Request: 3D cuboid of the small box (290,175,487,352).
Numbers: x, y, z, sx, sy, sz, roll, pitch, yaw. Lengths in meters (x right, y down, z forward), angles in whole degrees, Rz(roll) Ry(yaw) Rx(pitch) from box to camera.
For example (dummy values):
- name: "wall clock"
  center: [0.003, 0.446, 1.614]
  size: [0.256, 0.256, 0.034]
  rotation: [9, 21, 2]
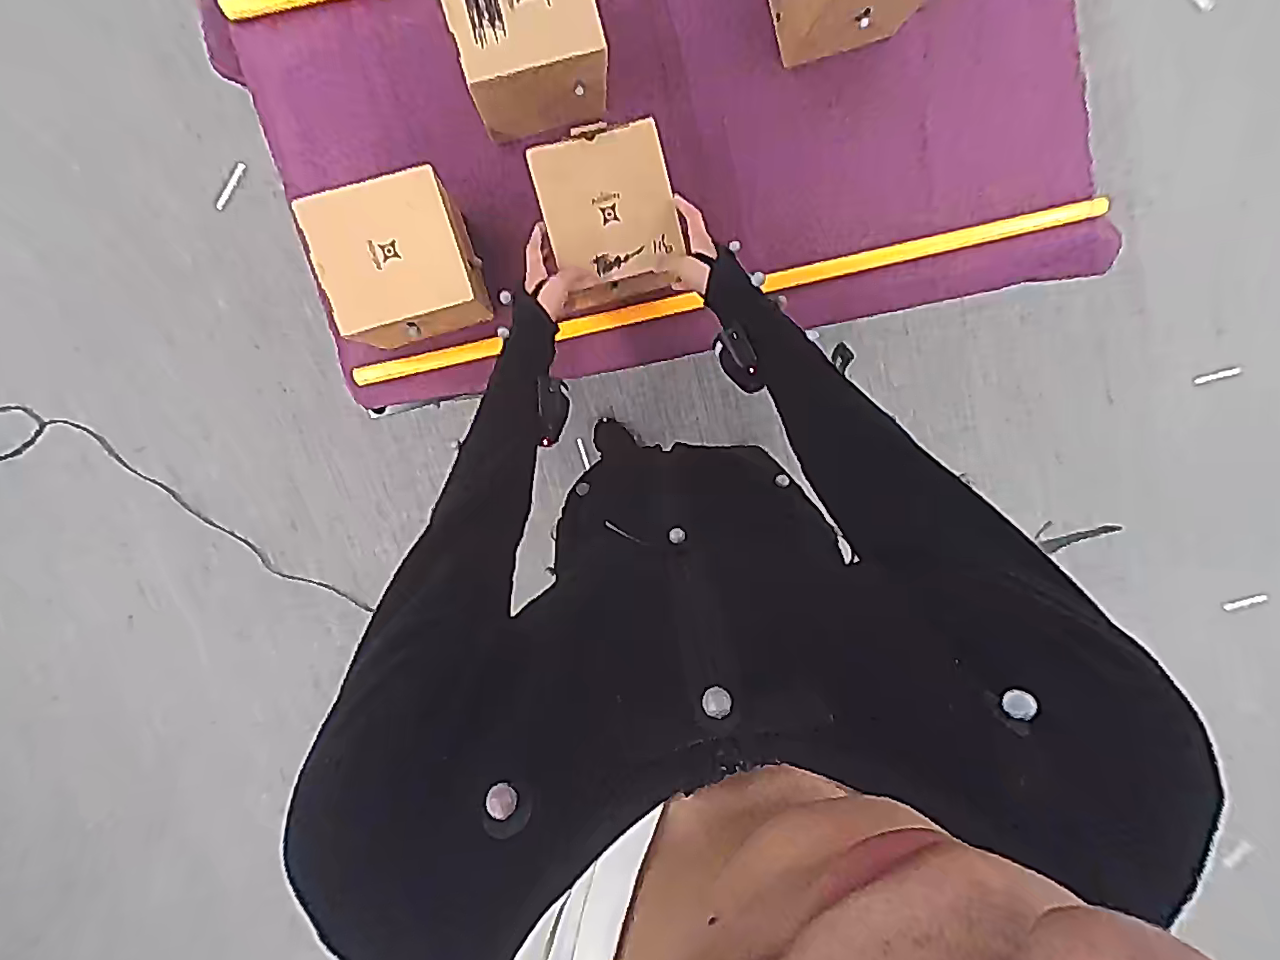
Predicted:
- name: "small box"
  center: [-0.322, -0.282, 0.739]
  size: [0.179, 0.176, 0.168]
  rotation: [-17, 99, -2]

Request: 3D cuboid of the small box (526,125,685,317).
- name: "small box"
  center: [-0.047, -0.342, 0.748]
  size: [0.168, 0.176, 0.179]
  rotation: [-15, 99, -1]

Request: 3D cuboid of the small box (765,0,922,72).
- name: "small box"
  center: [0.275, -0.691, 0.713]
  size: [0.179, 0.176, 0.168]
  rotation: [-18, 101, 0]
